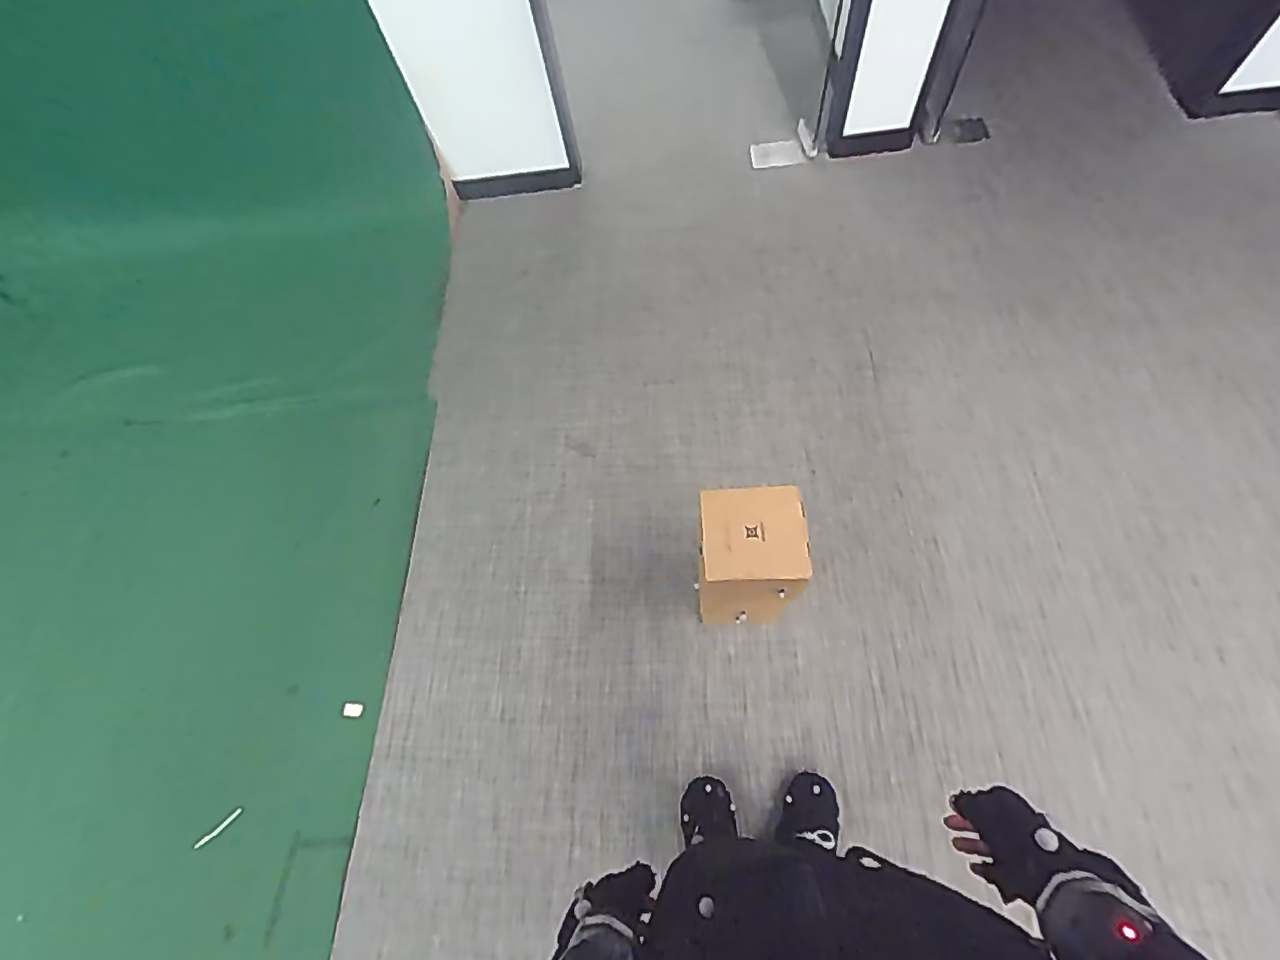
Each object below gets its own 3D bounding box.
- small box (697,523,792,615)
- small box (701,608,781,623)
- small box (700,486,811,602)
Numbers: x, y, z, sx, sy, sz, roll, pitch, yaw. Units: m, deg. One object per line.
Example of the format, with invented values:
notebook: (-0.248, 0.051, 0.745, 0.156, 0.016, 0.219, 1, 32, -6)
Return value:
small box: (0.212, 0.188, 1.140, 0.179, 0.176, 0.168, -5, 67, 6)
small box: (0.232, 0.243, 1.289, 0.179, 0.176, 0.168, -4, 65, 8)
small box: (0.201, 0.122, 0.988, 0.179, 0.176, 0.168, -4, 64, 7)
